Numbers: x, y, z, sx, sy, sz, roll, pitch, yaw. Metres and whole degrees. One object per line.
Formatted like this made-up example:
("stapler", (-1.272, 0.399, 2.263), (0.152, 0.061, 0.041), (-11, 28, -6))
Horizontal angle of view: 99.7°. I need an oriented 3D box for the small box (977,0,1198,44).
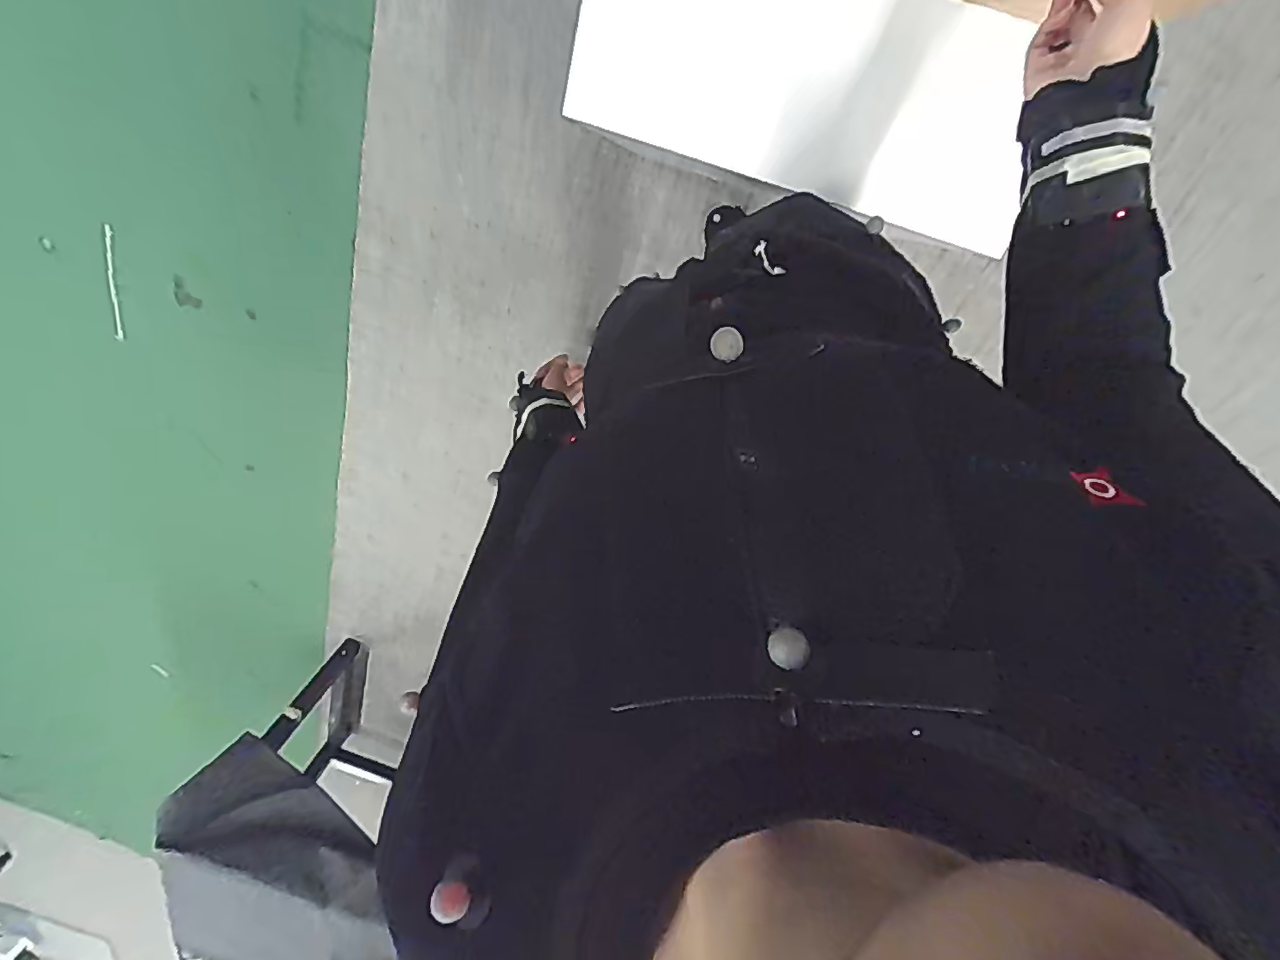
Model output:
("small box", (0.369, -0.458, 0.391), (0.168, 0.176, 0.179), (18, 118, -1))
